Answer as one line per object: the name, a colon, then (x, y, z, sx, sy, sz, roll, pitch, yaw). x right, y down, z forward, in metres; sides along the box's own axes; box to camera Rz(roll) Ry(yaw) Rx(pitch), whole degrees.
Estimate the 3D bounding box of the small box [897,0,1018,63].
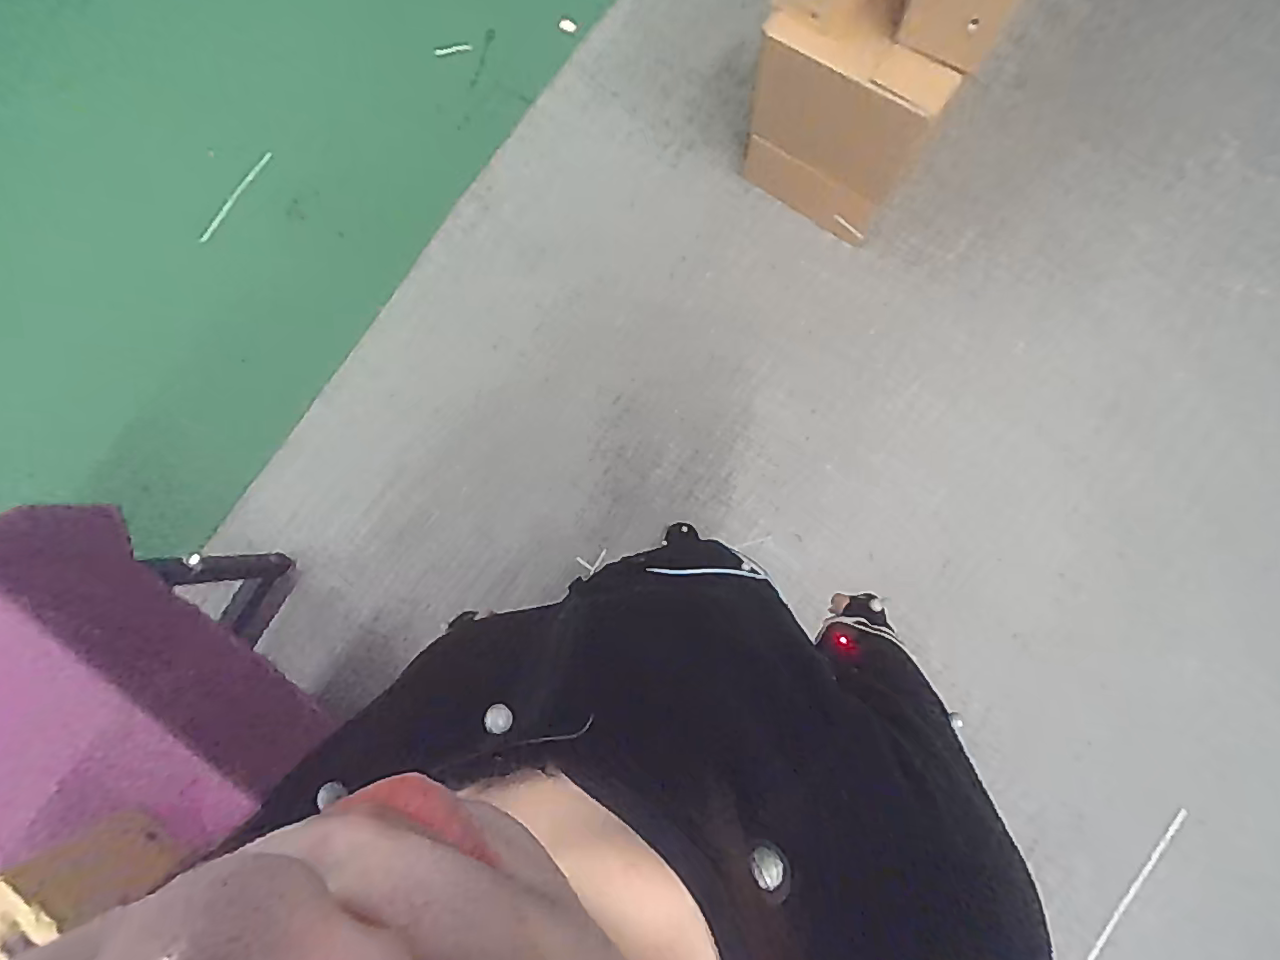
small box: (0.627, -0.939, 1.014, 0.179, 0.176, 0.168, 35, 87, 9)
